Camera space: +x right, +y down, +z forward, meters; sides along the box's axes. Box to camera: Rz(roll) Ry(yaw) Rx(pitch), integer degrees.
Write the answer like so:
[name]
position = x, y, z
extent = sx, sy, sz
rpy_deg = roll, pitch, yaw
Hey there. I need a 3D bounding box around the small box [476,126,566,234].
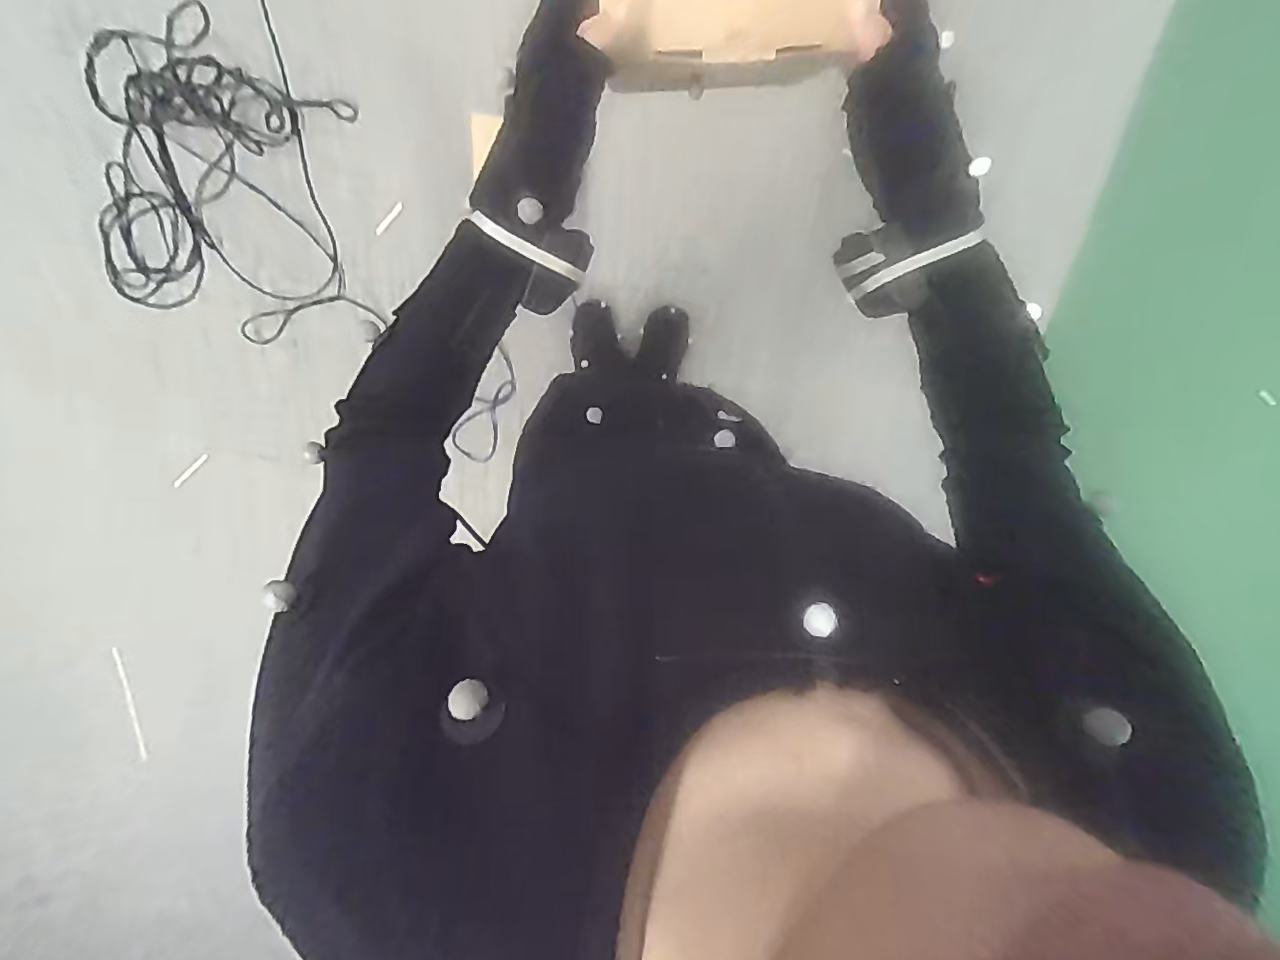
[small box]
position = -0.252, -0.639, 1.172
extent = 0.168, 0.176, 0.179
rpy_deg = 4, 110, -3
